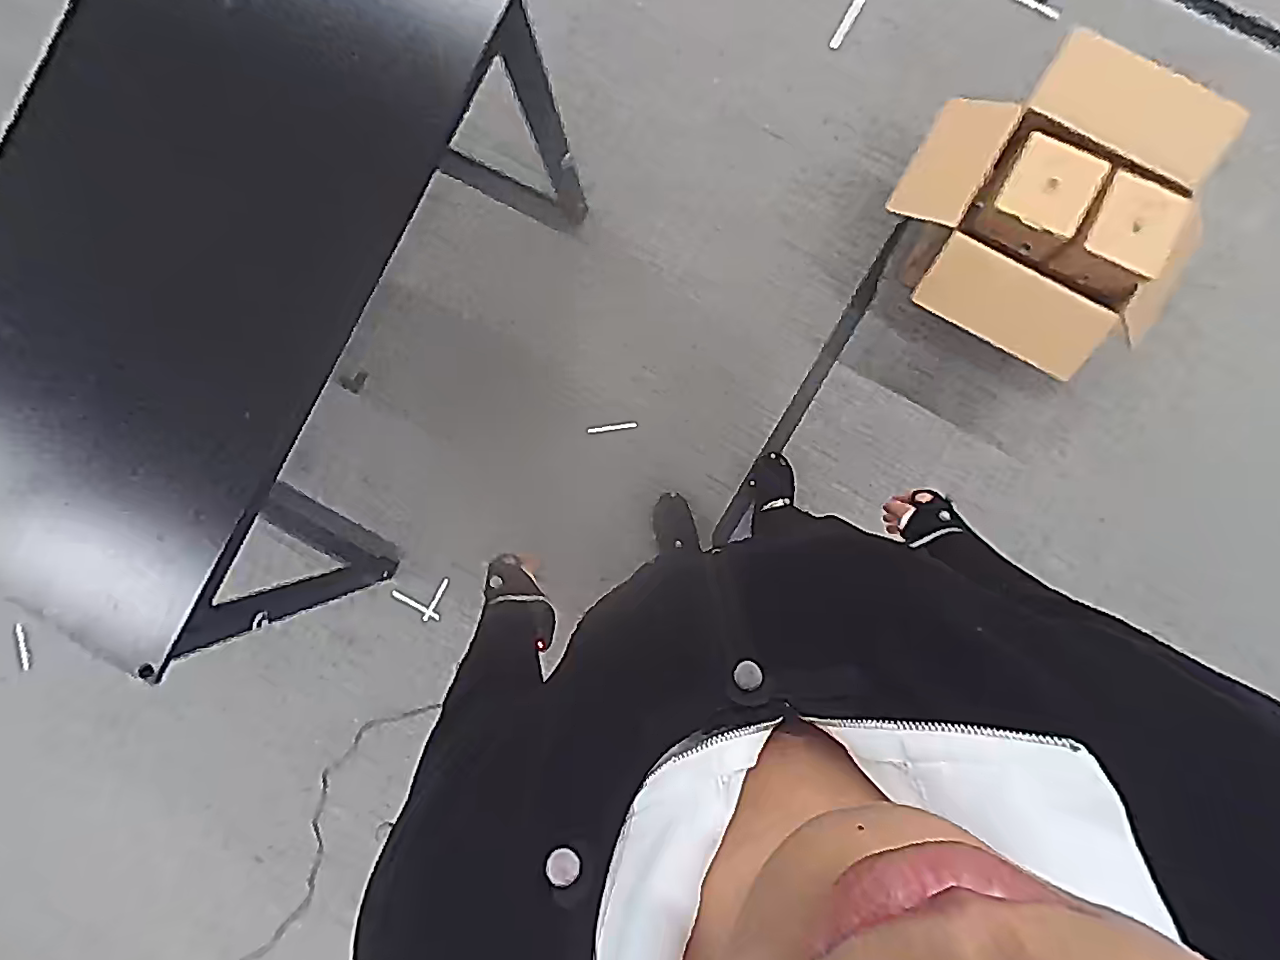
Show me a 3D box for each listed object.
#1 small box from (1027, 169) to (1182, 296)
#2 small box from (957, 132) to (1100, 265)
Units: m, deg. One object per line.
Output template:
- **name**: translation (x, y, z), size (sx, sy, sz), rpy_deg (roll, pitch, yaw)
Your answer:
- **small box**: translation (1.003, -0.530, 1.188), size (0.168, 0.176, 0.179), rpy_deg (23, 92, -2)
- **small box**: translation (0.842, -0.609, 1.195), size (0.168, 0.176, 0.179), rpy_deg (27, 90, 5)
